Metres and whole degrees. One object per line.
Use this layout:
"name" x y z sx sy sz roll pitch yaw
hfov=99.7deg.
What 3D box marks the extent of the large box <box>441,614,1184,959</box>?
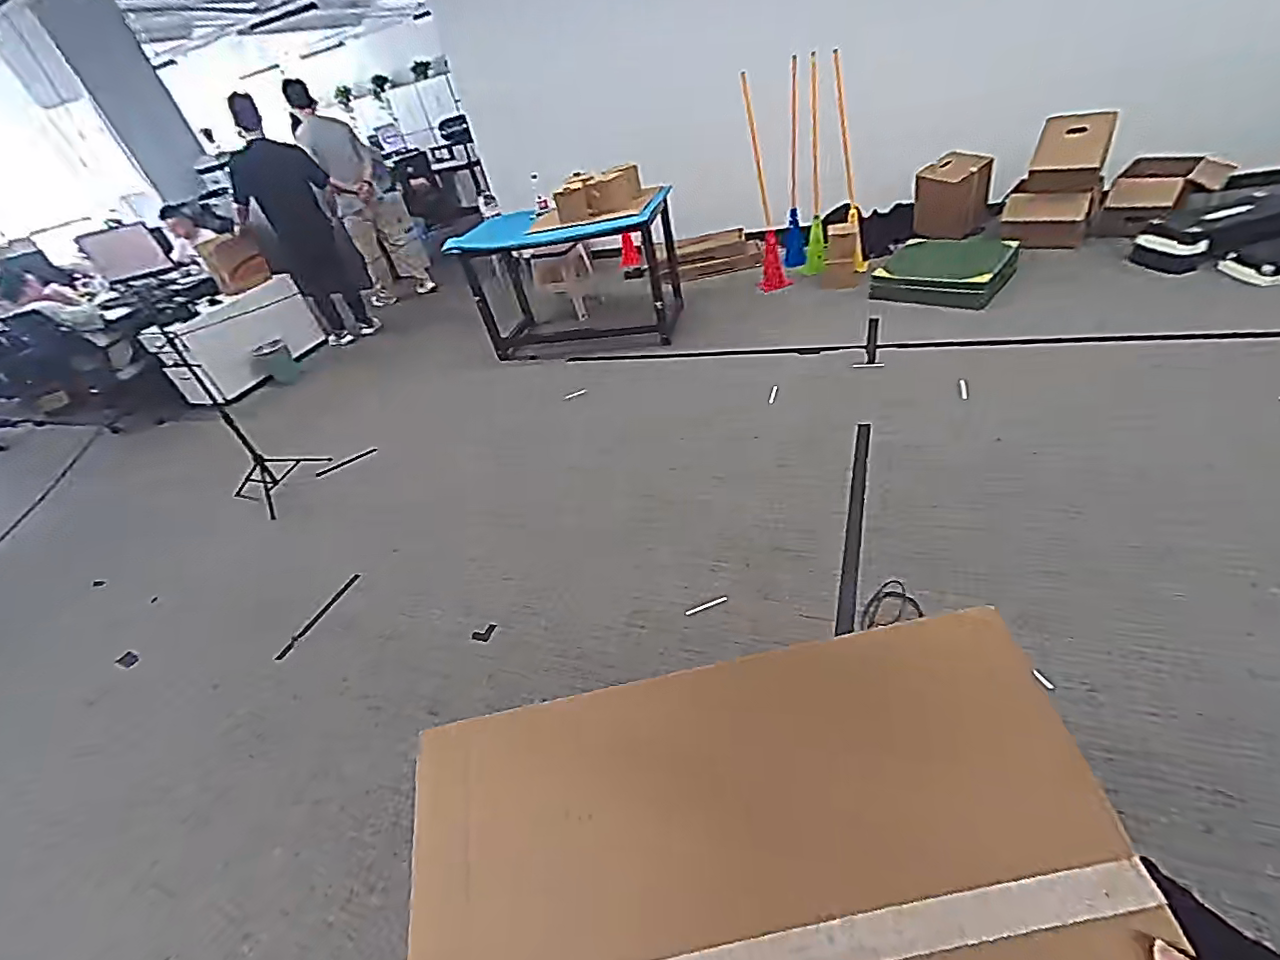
"large box" 0.100 0.342 0.423 0.408 0.320 0.320 -13 58 2
